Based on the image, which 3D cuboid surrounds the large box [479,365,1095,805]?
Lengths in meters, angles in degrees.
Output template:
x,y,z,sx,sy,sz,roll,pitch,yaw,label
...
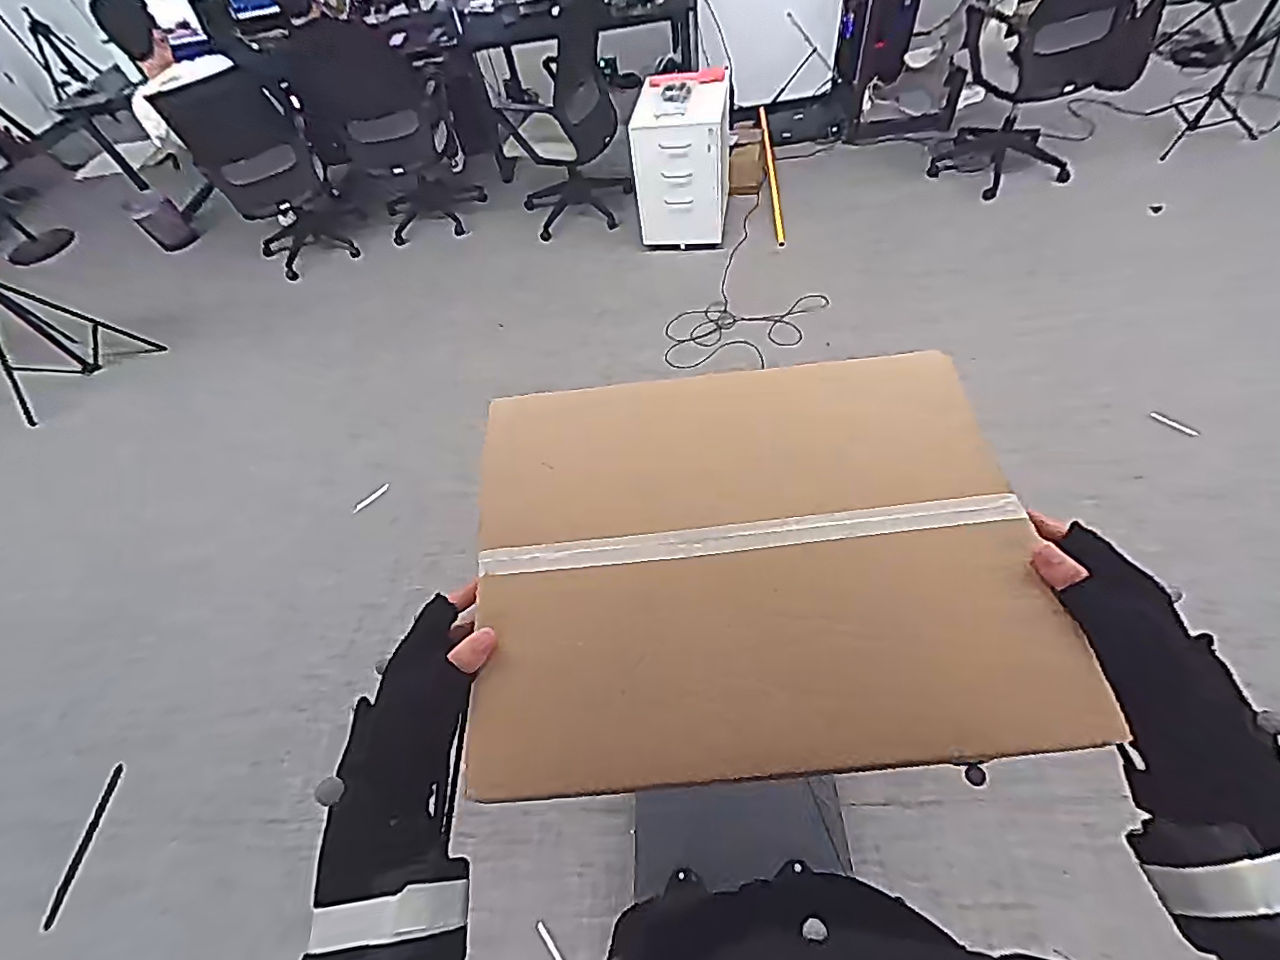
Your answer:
x,y,z,sx,sy,sz,roll,pitch,yaw,label
0.091,0.122,0.544,0.408,0.320,0.320,-6,60,1,large box
